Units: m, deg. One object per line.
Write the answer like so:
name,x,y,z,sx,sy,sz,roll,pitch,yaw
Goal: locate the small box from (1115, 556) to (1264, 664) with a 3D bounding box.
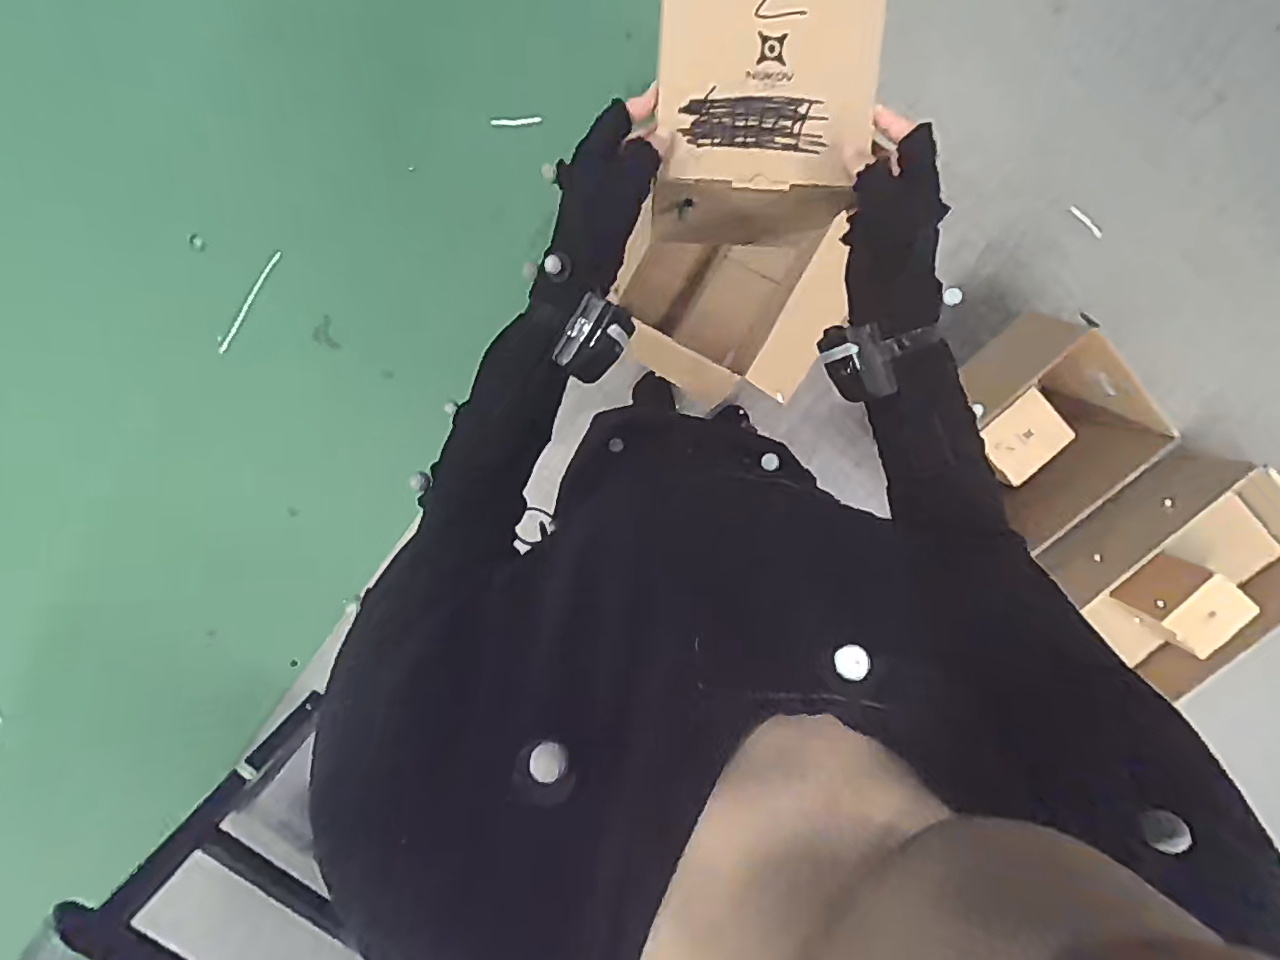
small box,1.392,0.324,1.384,0.168,0.176,0.179,38,101,-7
